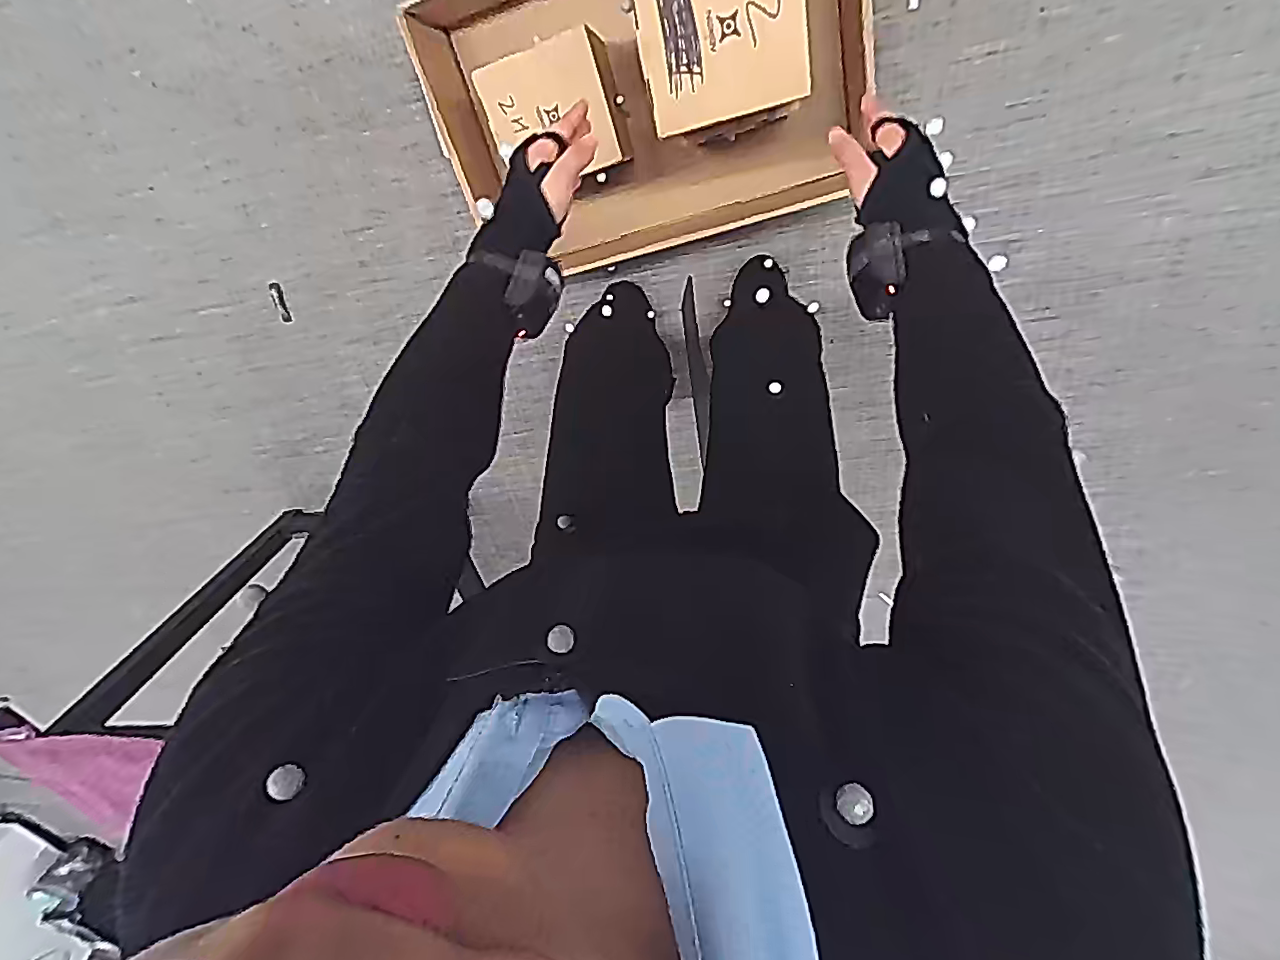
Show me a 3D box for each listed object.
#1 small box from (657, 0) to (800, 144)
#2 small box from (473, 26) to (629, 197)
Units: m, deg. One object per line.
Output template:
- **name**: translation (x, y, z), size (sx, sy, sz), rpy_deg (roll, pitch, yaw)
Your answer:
- **small box**: translation (0.127, -0.602, 0.771), size (0.168, 0.176, 0.179), rpy_deg (-9, 122, 15)
- **small box**: translation (-0.121, -0.558, 0.833), size (0.179, 0.176, 0.168), rpy_deg (-12, 120, 14)
